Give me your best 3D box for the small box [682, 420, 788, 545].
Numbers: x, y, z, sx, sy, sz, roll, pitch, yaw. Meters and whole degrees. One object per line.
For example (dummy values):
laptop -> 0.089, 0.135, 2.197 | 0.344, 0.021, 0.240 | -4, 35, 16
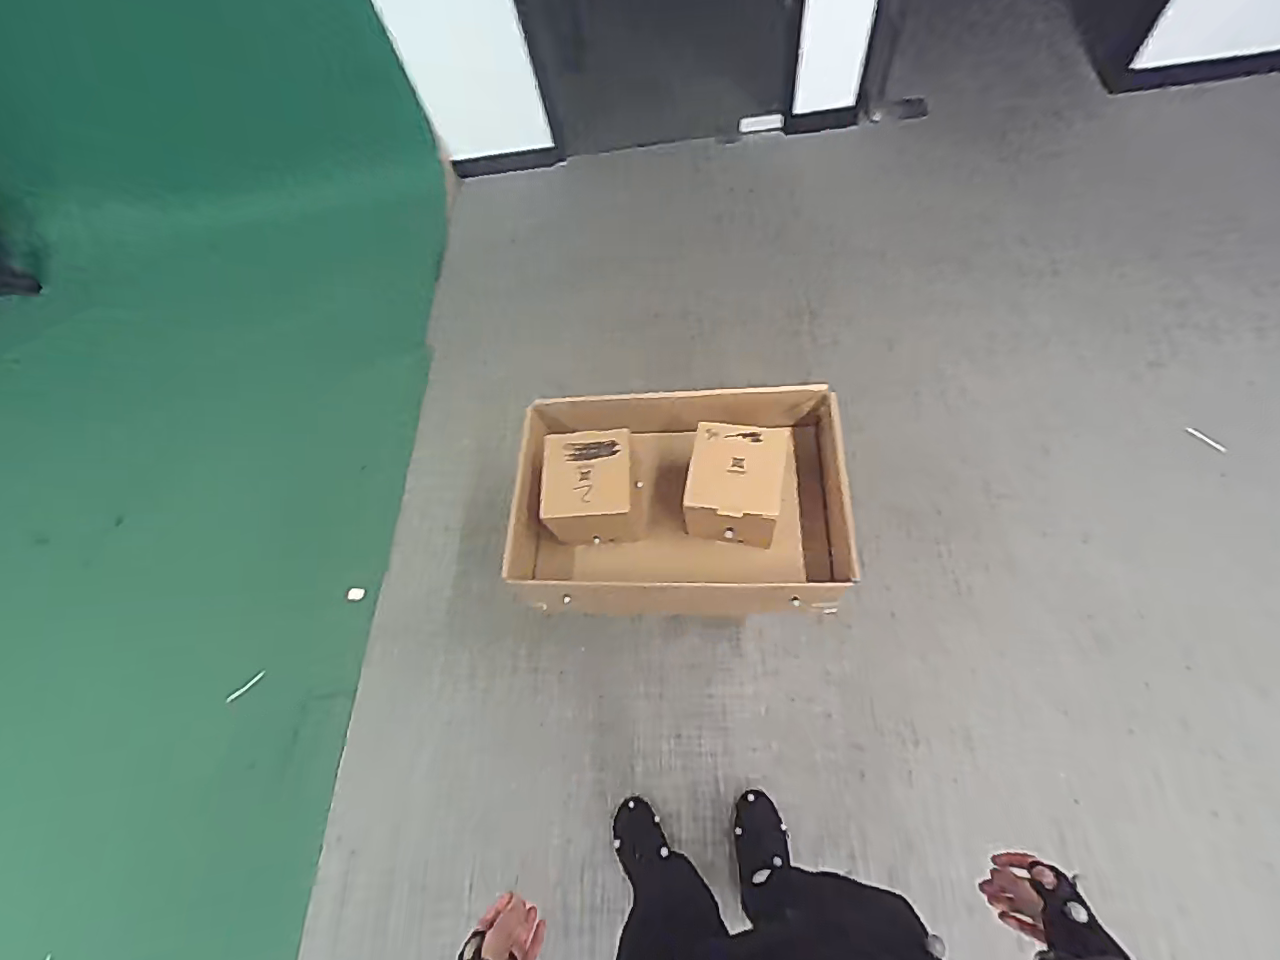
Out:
small box -> 0.182, 0.010, 1.028 | 0.168, 0.176, 0.179 | 9, 67, 13
